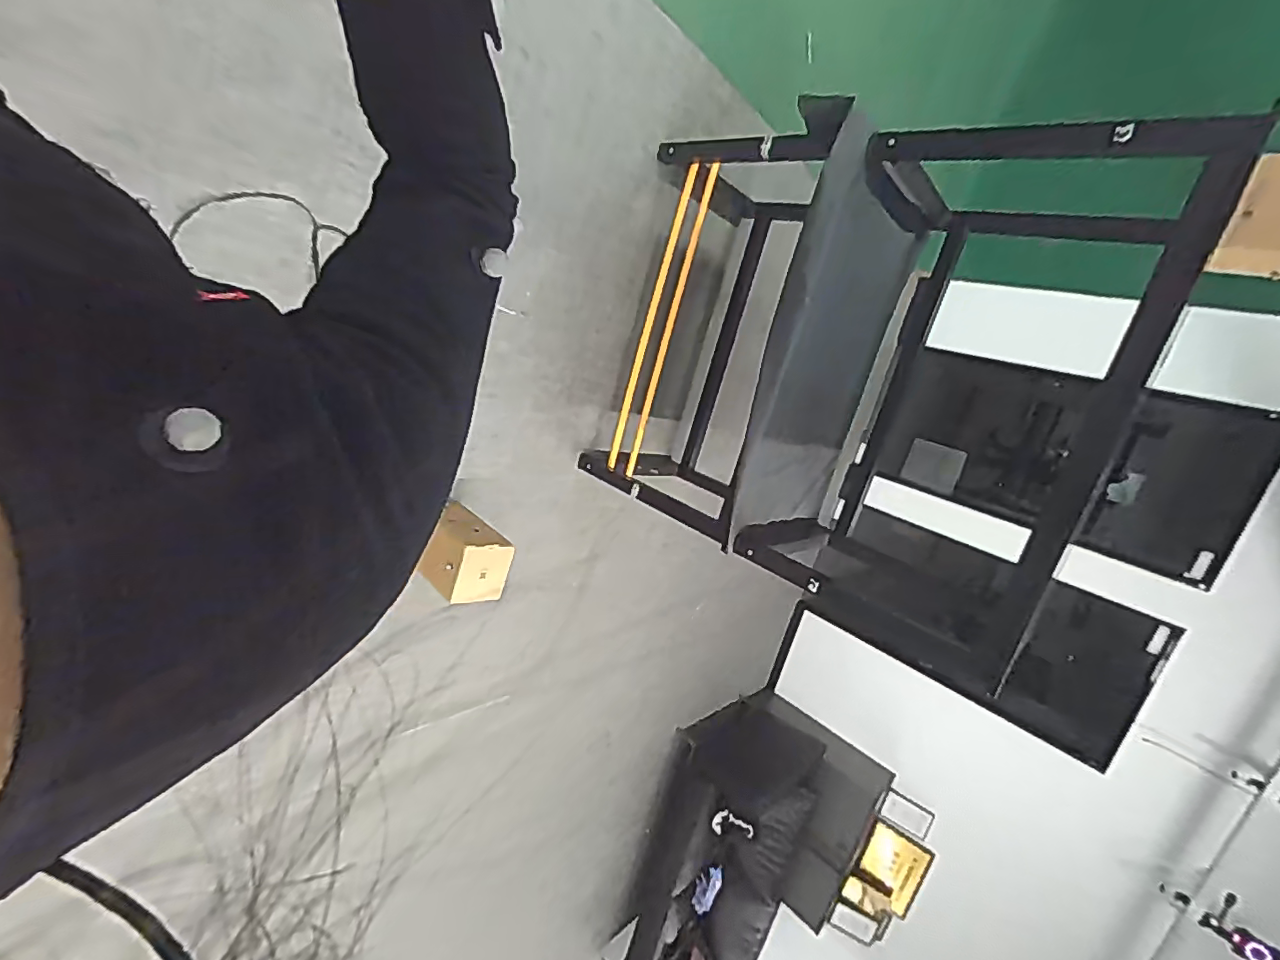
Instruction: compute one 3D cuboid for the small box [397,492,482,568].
[{"bbox_3d":[-0.625,0.155,1.670,0.168,0.176,0.179,9,104,-51],"label":"small box"}]
